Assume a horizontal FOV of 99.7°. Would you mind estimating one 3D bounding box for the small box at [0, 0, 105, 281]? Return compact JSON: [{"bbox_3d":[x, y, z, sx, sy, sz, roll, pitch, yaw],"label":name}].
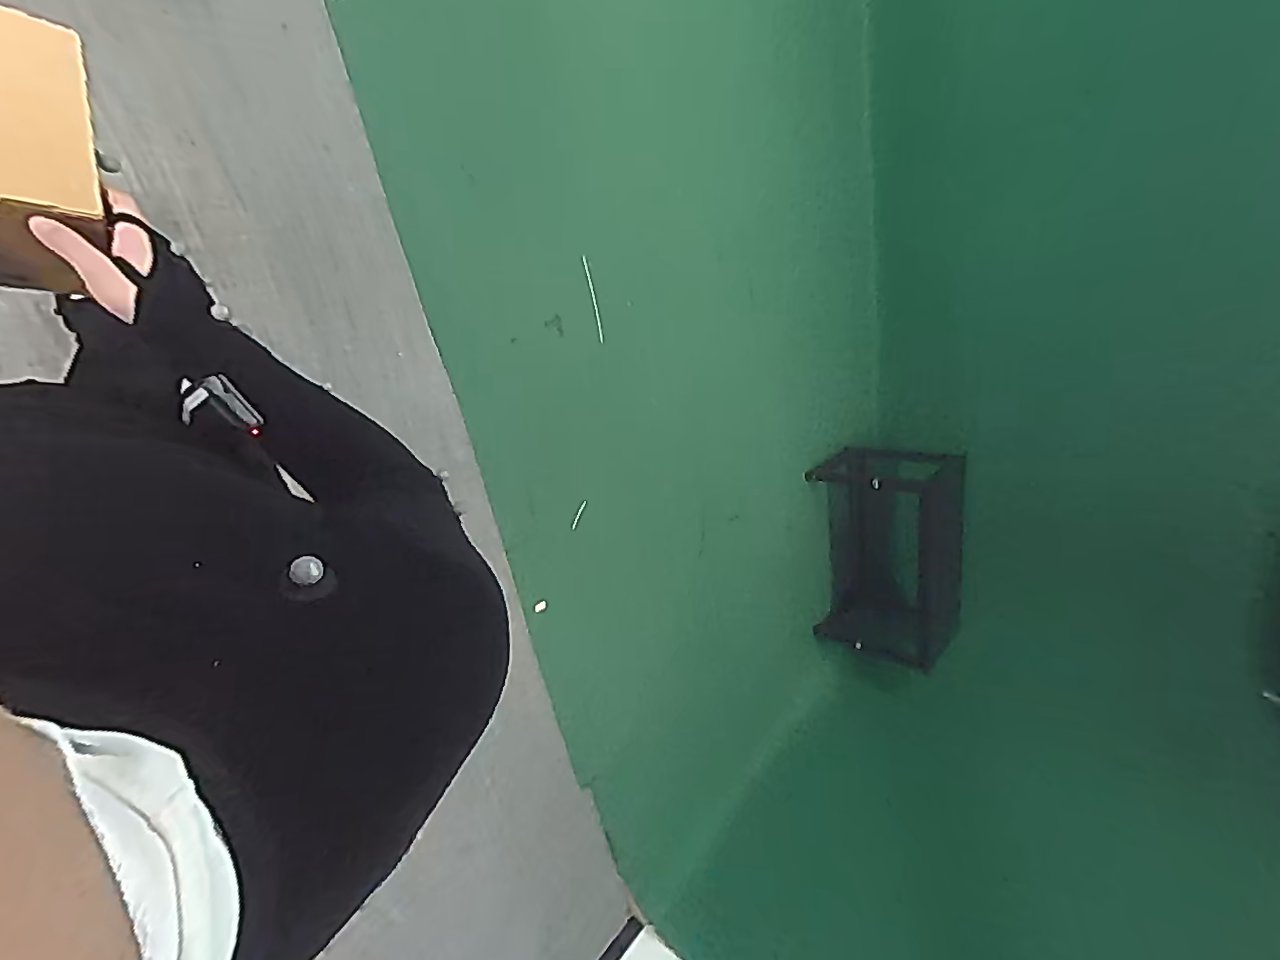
[{"bbox_3d":[-0.594,-0.301,0.469,0.168,0.176,0.179,-8,88,-46],"label":"small box"}]
